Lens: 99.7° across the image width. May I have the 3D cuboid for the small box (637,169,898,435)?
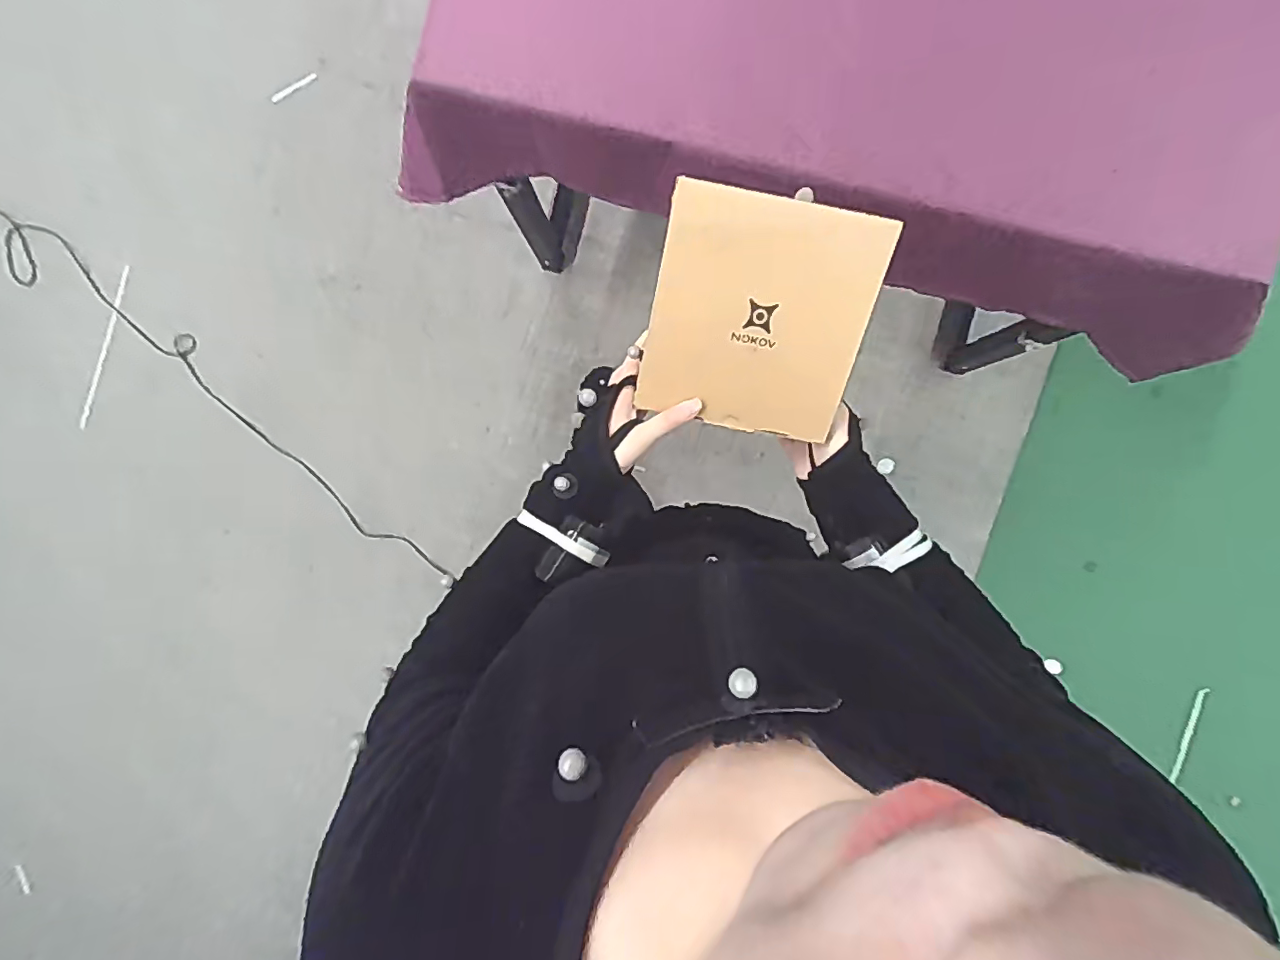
[{"bbox_3d":[0.095,-0.163,0.490,0.168,0.176,0.179,10,116,-1],"label":"small box"}]
